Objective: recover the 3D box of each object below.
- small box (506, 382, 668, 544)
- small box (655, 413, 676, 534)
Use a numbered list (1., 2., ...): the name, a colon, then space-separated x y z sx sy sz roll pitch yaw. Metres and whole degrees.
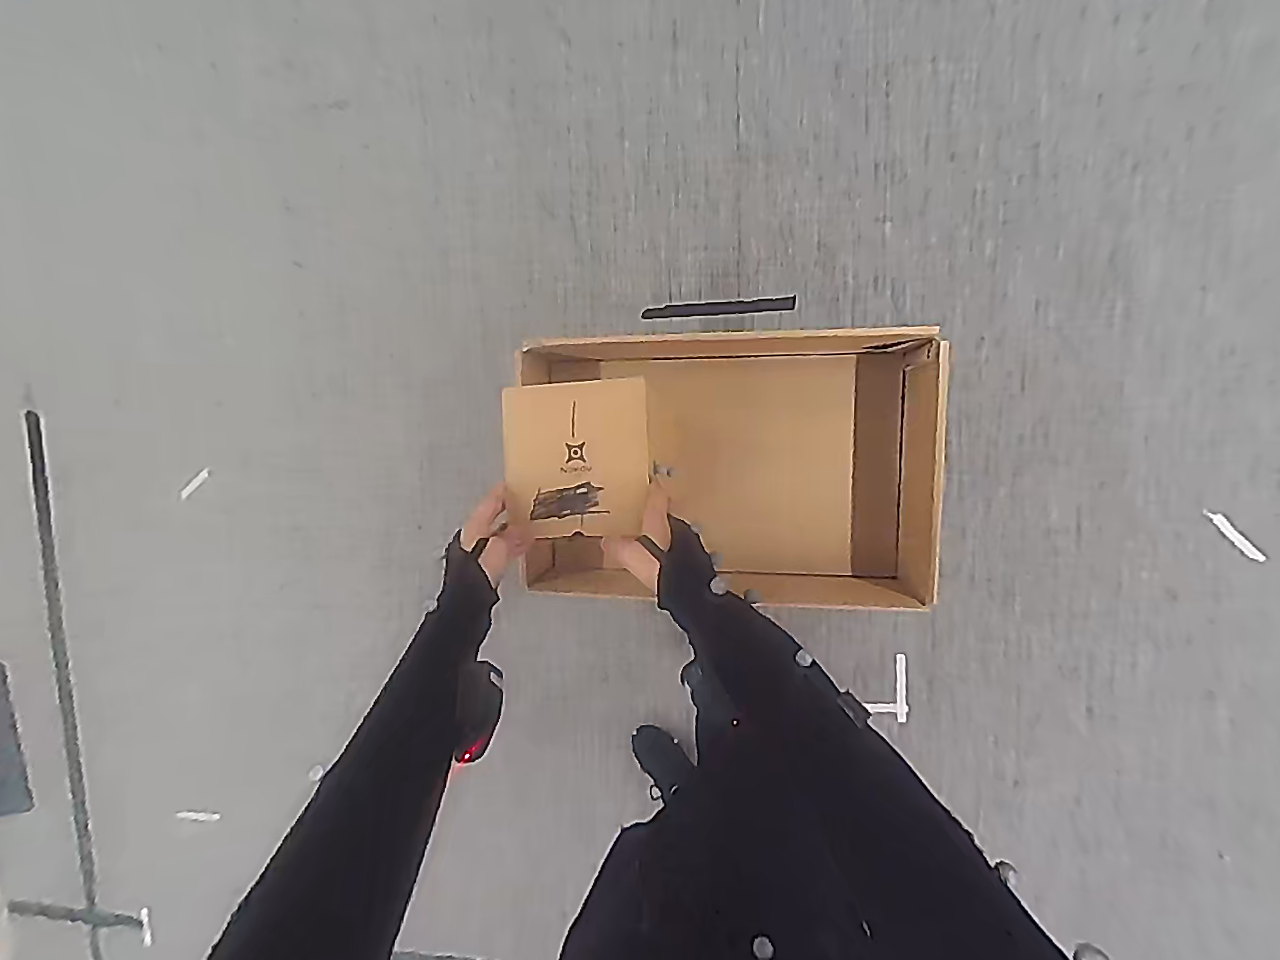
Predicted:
1. small box: -0.056 -0.016 0.674 0.168 0.176 0.179 -2 87 9
2. small box: -0.033 -0.015 0.861 0.168 0.176 0.179 -1 95 9
